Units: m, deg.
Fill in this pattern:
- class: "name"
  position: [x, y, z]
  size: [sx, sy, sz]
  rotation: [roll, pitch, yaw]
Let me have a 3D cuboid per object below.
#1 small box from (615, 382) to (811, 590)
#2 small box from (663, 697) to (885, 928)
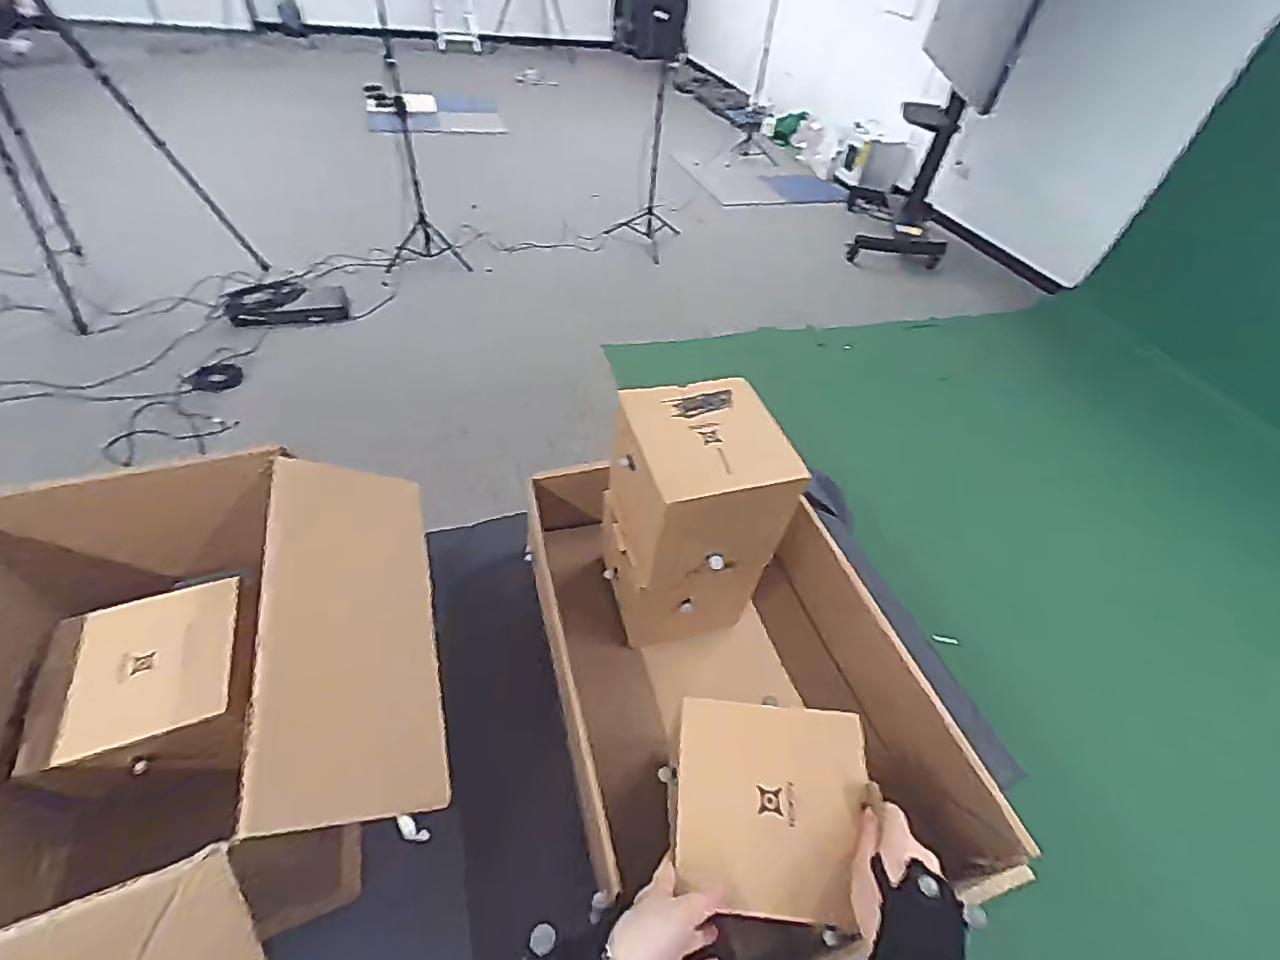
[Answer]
- class: "small box"
  position: [0.071, 0.006, 0.657]
  size: [0.168, 0.176, 0.179]
  rotation: [-10, 51, -15]
- class: "small box"
  position: [0.118, 0.332, 0.548]
  size: [0.179, 0.176, 0.168]
  rotation: [5, 56, 1]
